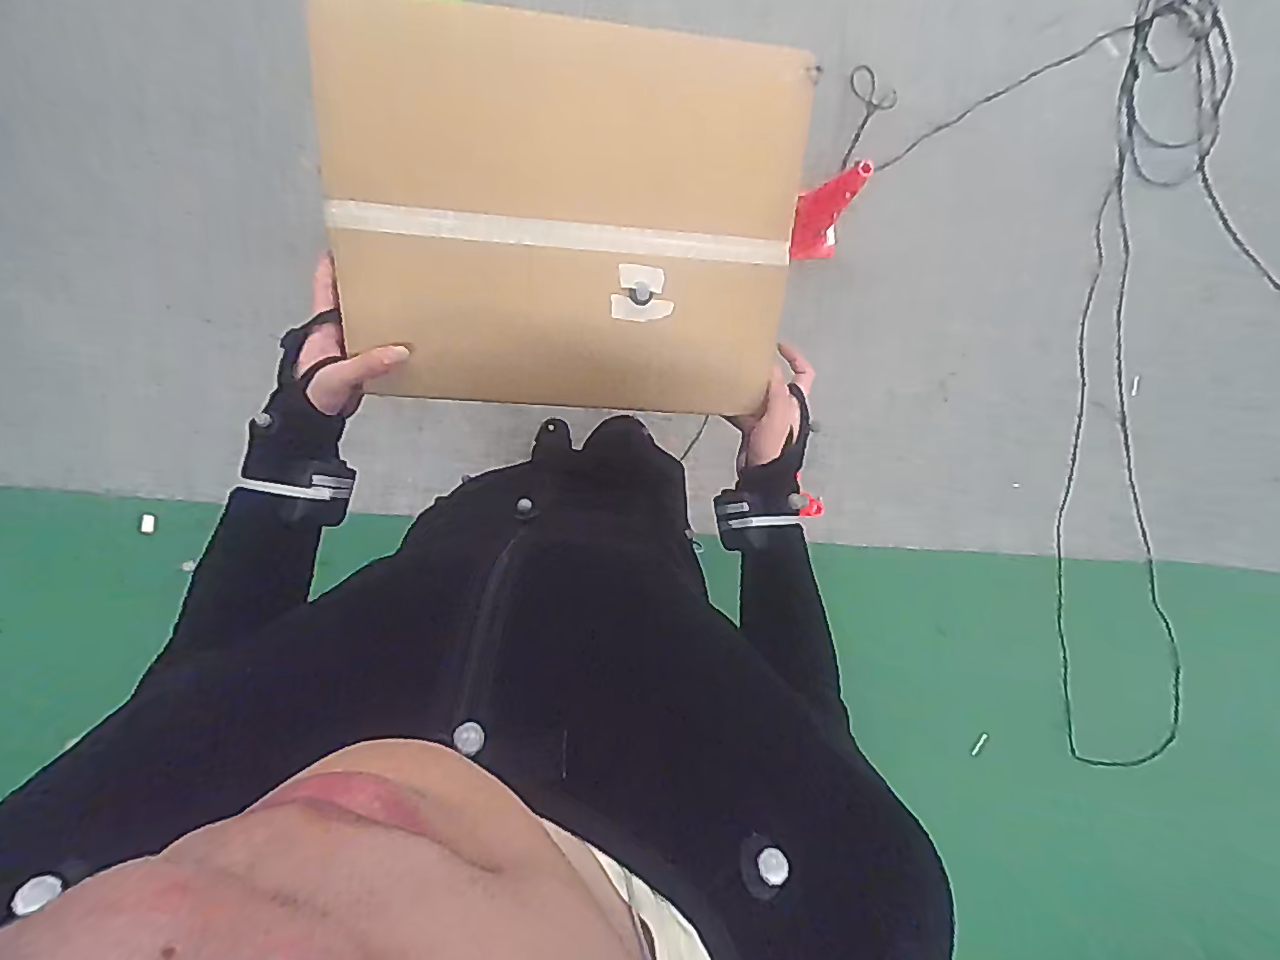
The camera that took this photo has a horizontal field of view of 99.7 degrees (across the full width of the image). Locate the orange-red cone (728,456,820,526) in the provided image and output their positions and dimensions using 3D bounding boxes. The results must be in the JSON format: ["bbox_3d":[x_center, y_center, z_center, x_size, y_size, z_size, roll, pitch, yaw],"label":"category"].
[{"bbox_3d":[0.415,0.055,1.539,0.199,0.360,0.198,12,95,-10],"label":"orange-red cone"}]

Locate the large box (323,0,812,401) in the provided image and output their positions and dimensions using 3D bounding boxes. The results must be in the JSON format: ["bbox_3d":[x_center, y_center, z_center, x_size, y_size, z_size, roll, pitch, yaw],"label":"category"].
[{"bbox_3d":[-0.076,-0.282,0.627,0.408,0.320,0.320,2,111,-8],"label":"large box"}]
